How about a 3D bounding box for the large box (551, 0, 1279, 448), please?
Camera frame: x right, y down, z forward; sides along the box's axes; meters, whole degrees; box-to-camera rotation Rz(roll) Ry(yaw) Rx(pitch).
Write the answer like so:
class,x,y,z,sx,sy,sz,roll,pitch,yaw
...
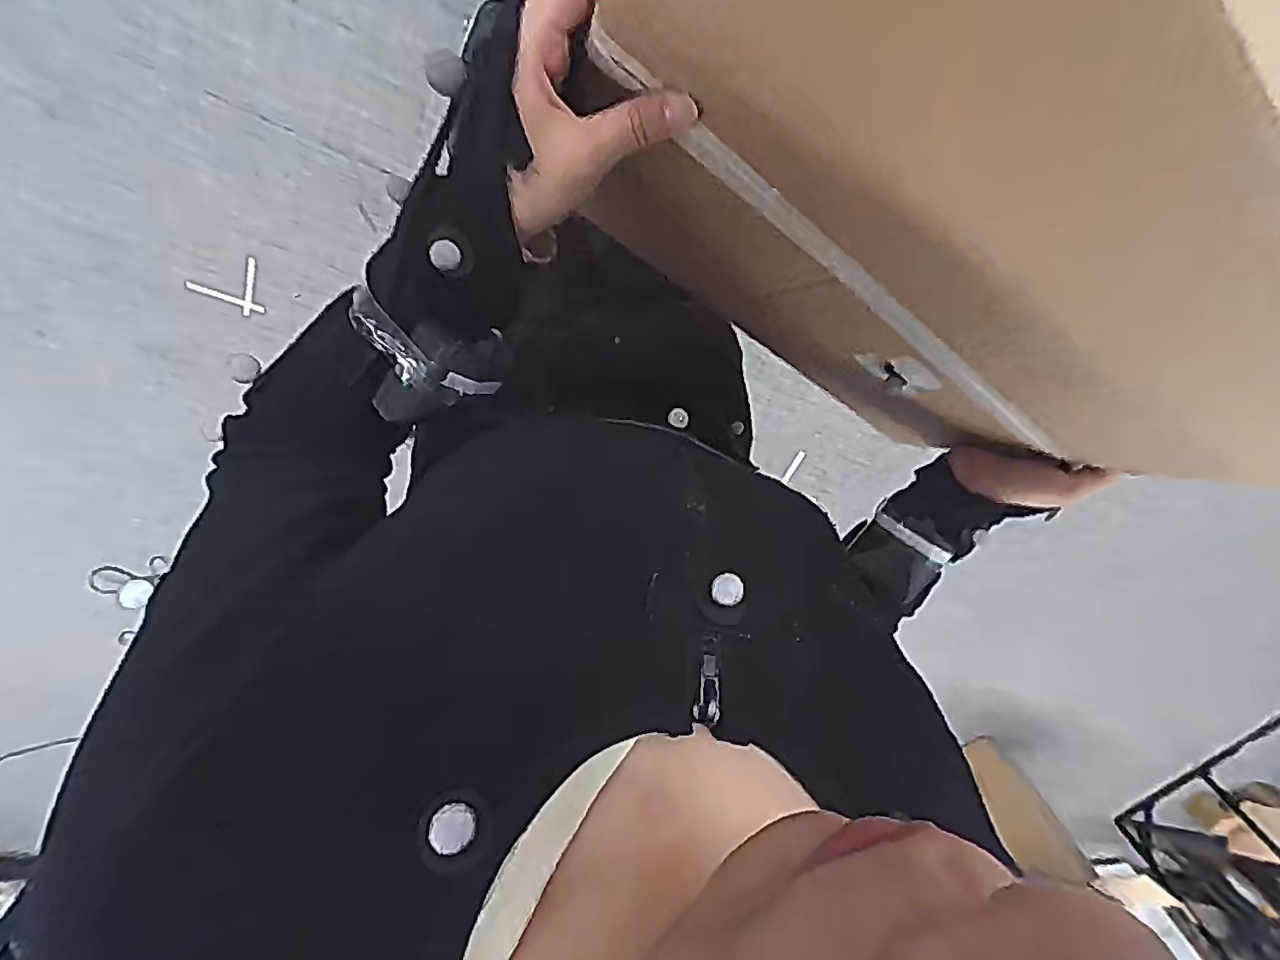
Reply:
class,x,y,z,sx,sy,sz,roll,pitch,yaw
large box,0.224,-0.247,0.275,0.408,0.320,0.320,26,89,-24
